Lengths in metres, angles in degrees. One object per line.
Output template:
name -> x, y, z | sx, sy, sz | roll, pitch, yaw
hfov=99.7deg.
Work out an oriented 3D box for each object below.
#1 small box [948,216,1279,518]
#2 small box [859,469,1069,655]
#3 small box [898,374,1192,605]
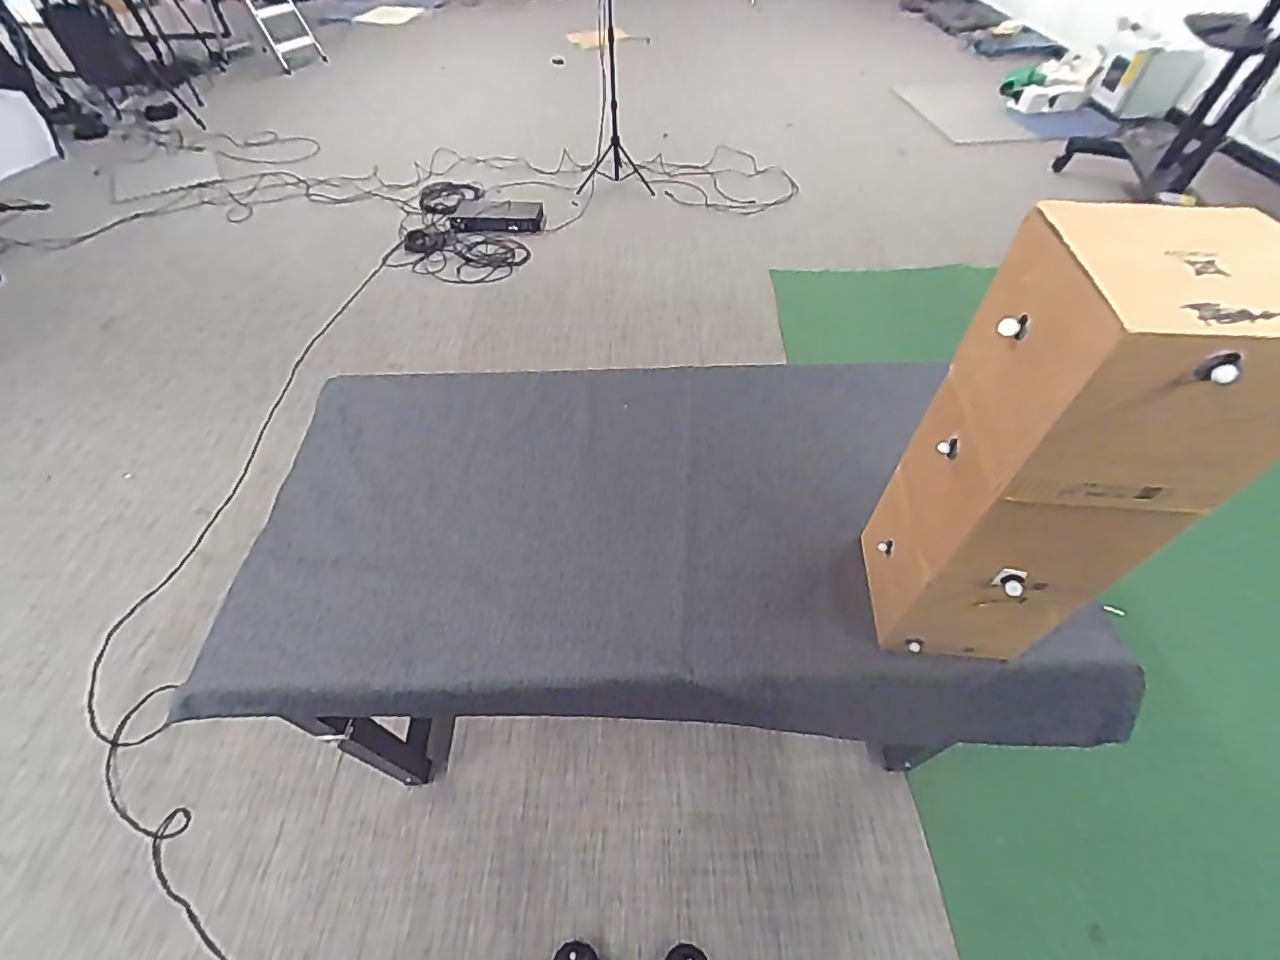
small box -> 0.384, -0.093, 0.445 | 0.168, 0.176, 0.179 | 4, 50, 6
small box -> 0.399, 0.109, 0.700 | 0.168, 0.176, 0.179 | 5, 50, 5
small box -> 0.394, 0.009, 0.573 | 0.168, 0.176, 0.179 | 4, 52, 6
